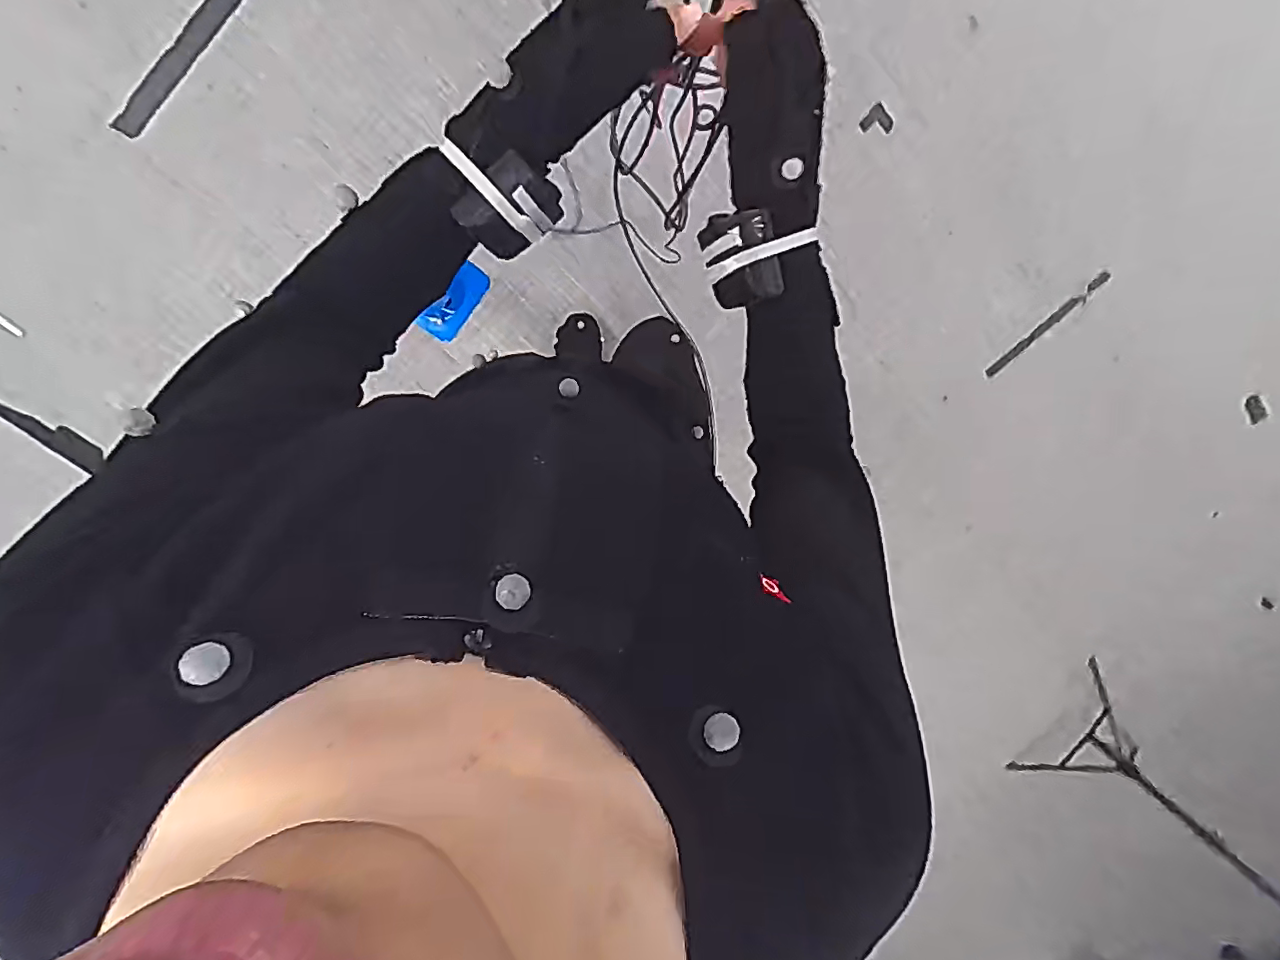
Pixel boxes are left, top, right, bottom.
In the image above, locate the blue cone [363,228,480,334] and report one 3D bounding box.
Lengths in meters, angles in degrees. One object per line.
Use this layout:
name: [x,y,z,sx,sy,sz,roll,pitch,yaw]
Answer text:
blue cone: [-0.485,-0.422,1.143,0.192,0.380,0.193,38,101,-15]
